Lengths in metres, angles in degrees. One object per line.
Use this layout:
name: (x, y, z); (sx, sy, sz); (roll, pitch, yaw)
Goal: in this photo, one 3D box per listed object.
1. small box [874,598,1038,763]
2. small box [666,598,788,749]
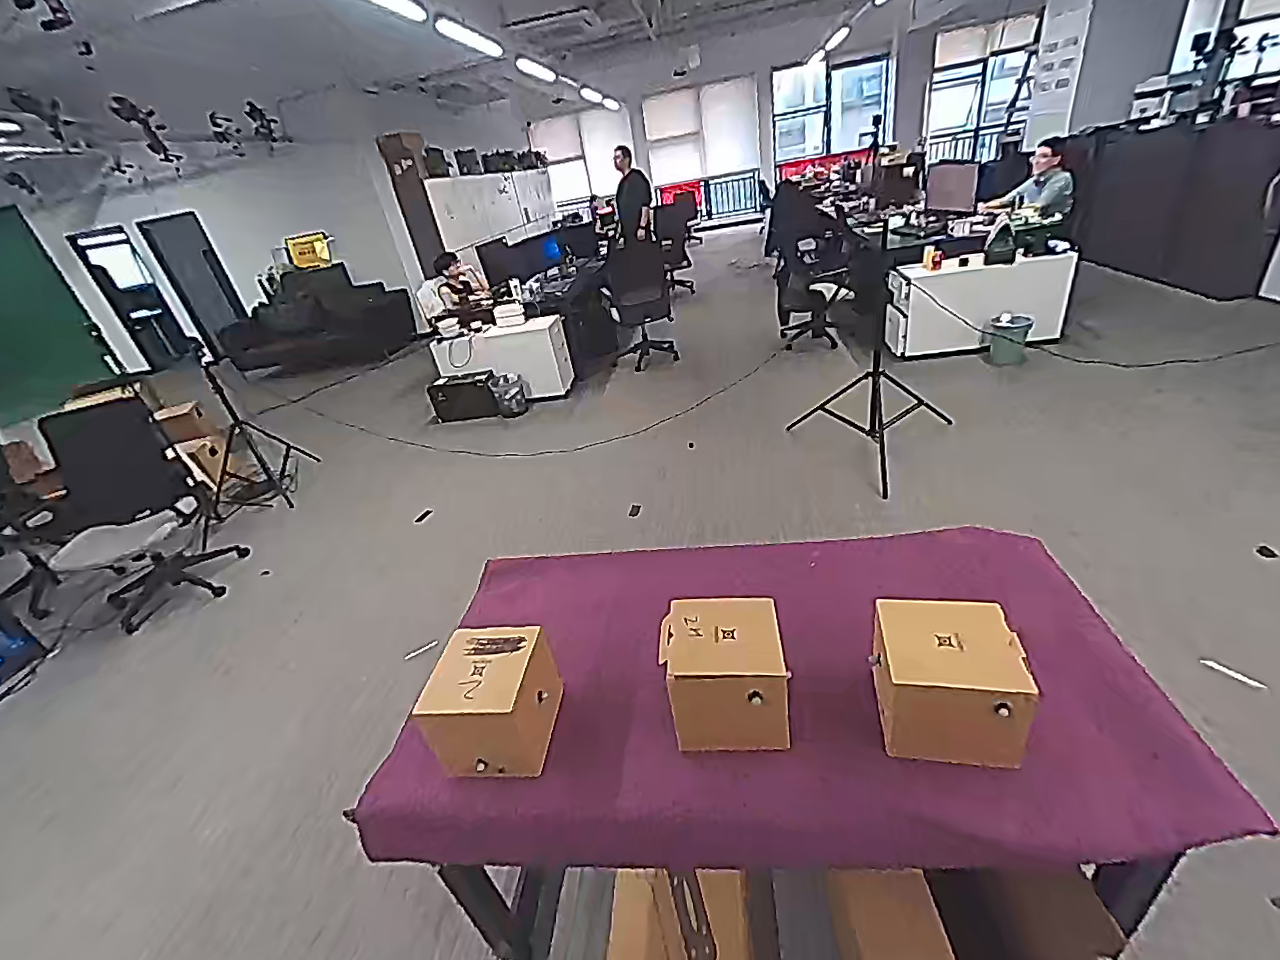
small box: (0.454, 0.297, 0.811); (0.179, 0.176, 0.168); (-2, 31, 15)
small box: (0.144, 0.315, 0.882); (0.179, 0.176, 0.168); (-6, 27, 9)
